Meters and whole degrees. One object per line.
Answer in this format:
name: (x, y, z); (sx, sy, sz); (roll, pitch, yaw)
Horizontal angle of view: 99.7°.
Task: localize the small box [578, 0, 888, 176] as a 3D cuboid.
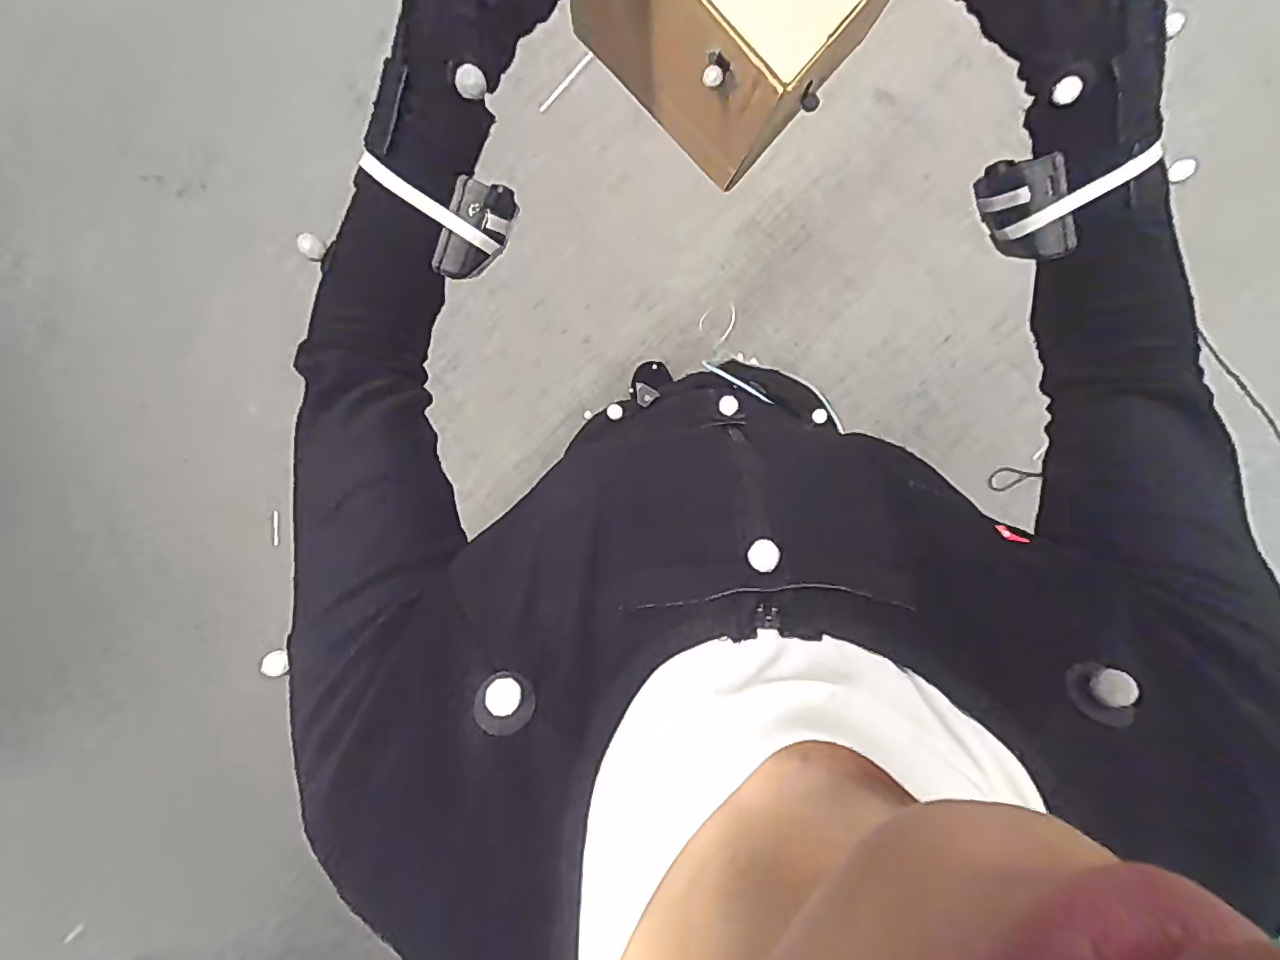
small box: (0.068, -0.349, 0.360); (0.179, 0.176, 0.168); (42, 96, -10)
